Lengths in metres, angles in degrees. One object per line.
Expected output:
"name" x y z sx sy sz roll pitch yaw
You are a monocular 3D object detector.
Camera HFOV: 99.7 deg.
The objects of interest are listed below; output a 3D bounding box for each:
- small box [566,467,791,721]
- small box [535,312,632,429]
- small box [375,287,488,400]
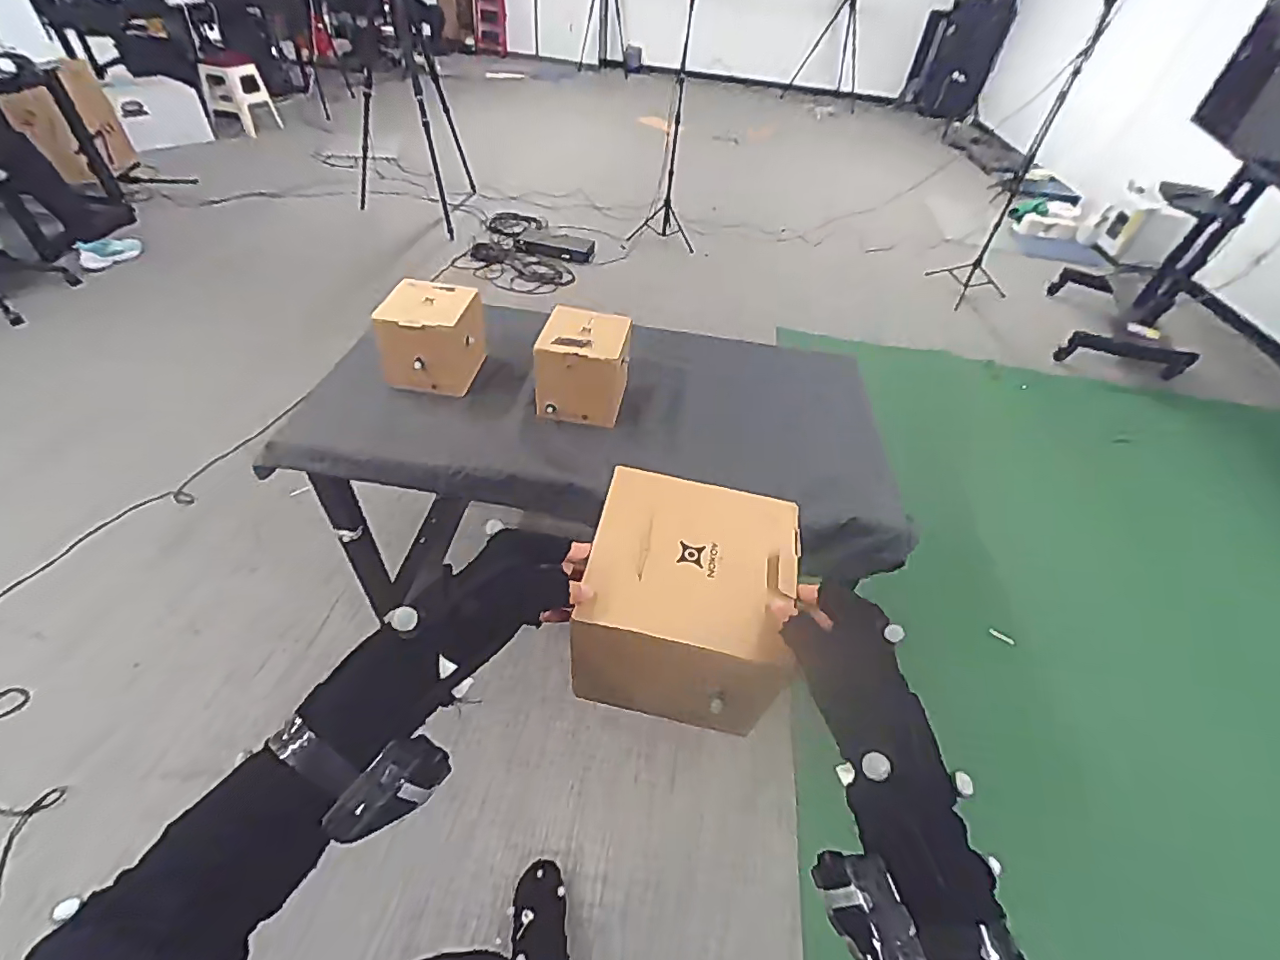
"small box" 0.037 0.115 0.524 0.179 0.176 0.168 10 47 5
"small box" -0.115 -0.230 1.148 0.168 0.176 0.179 9 44 3
"small box" -0.439 -0.294 1.174 0.168 0.176 0.179 7 45 0
